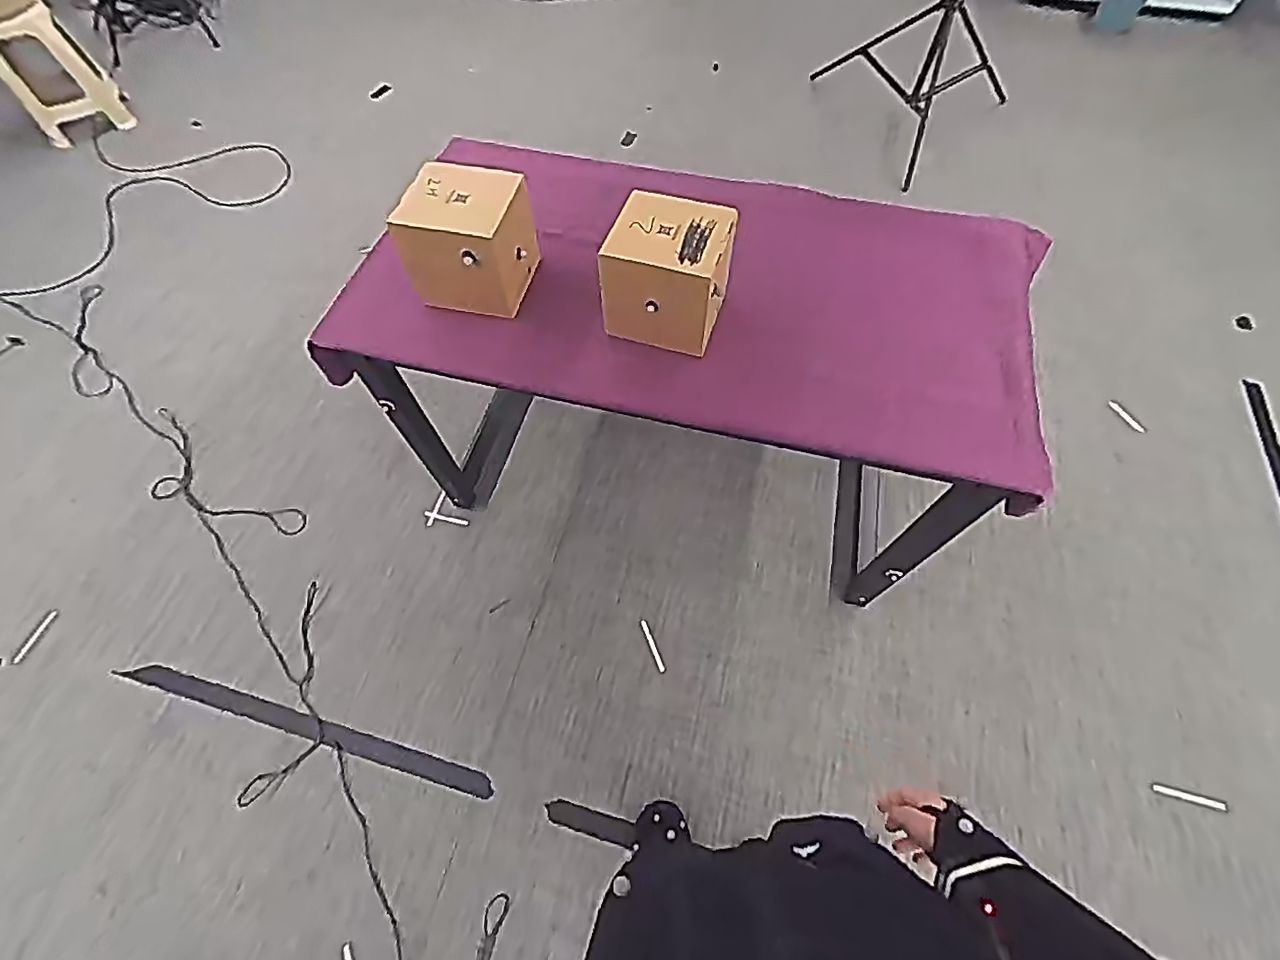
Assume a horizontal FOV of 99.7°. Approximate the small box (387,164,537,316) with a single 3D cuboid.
[{"bbox_3d":[-0.289,-0.406,0.931,0.179,0.176,0.168,10,61,6],"label":"small box"}]
